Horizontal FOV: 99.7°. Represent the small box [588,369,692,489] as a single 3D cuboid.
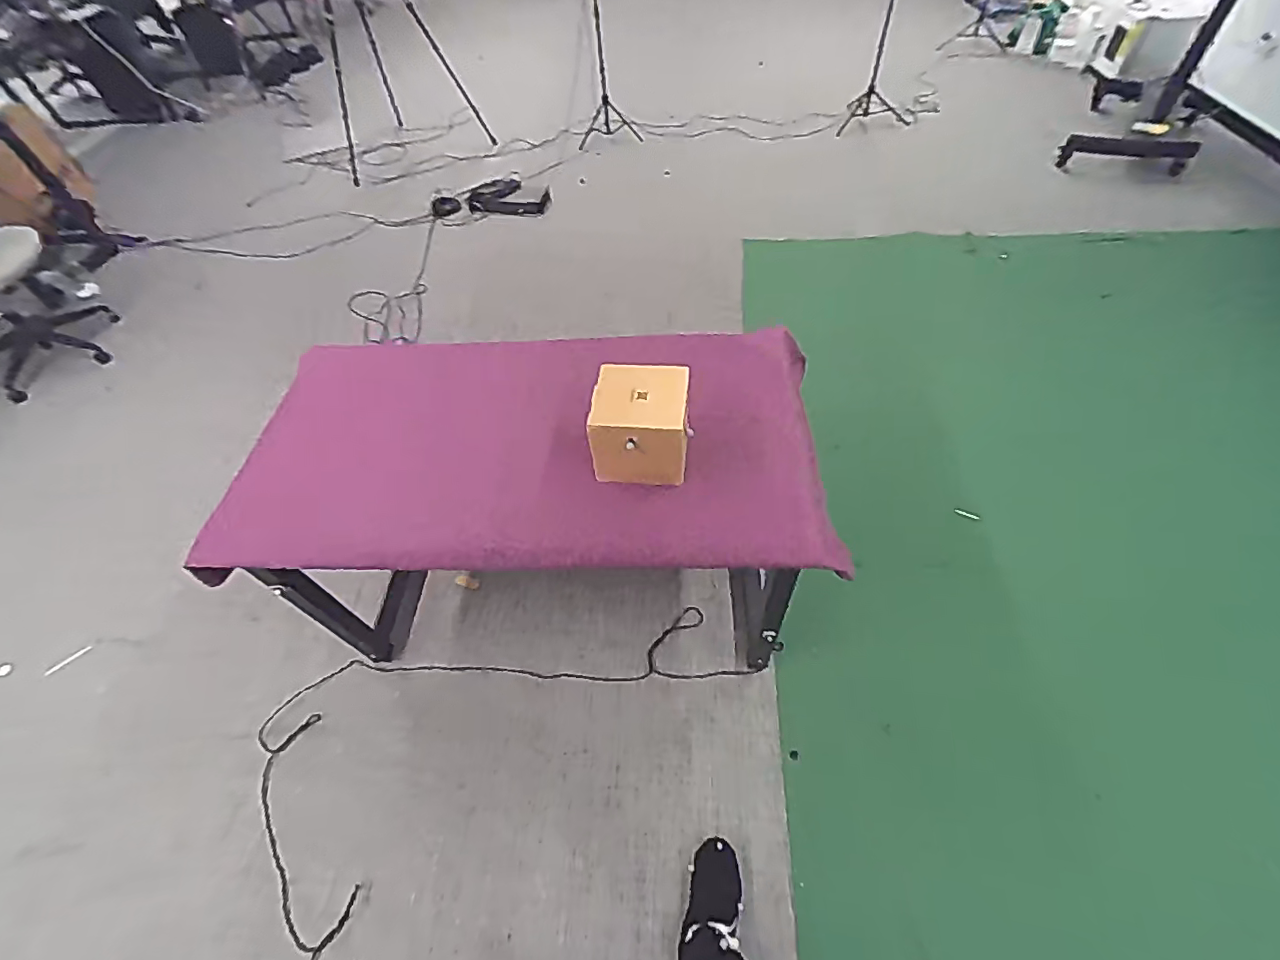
[{"bbox_3d":[0.008,-0.097,1.065,0.179,0.176,0.168,3,53,8],"label":"small box"}]
